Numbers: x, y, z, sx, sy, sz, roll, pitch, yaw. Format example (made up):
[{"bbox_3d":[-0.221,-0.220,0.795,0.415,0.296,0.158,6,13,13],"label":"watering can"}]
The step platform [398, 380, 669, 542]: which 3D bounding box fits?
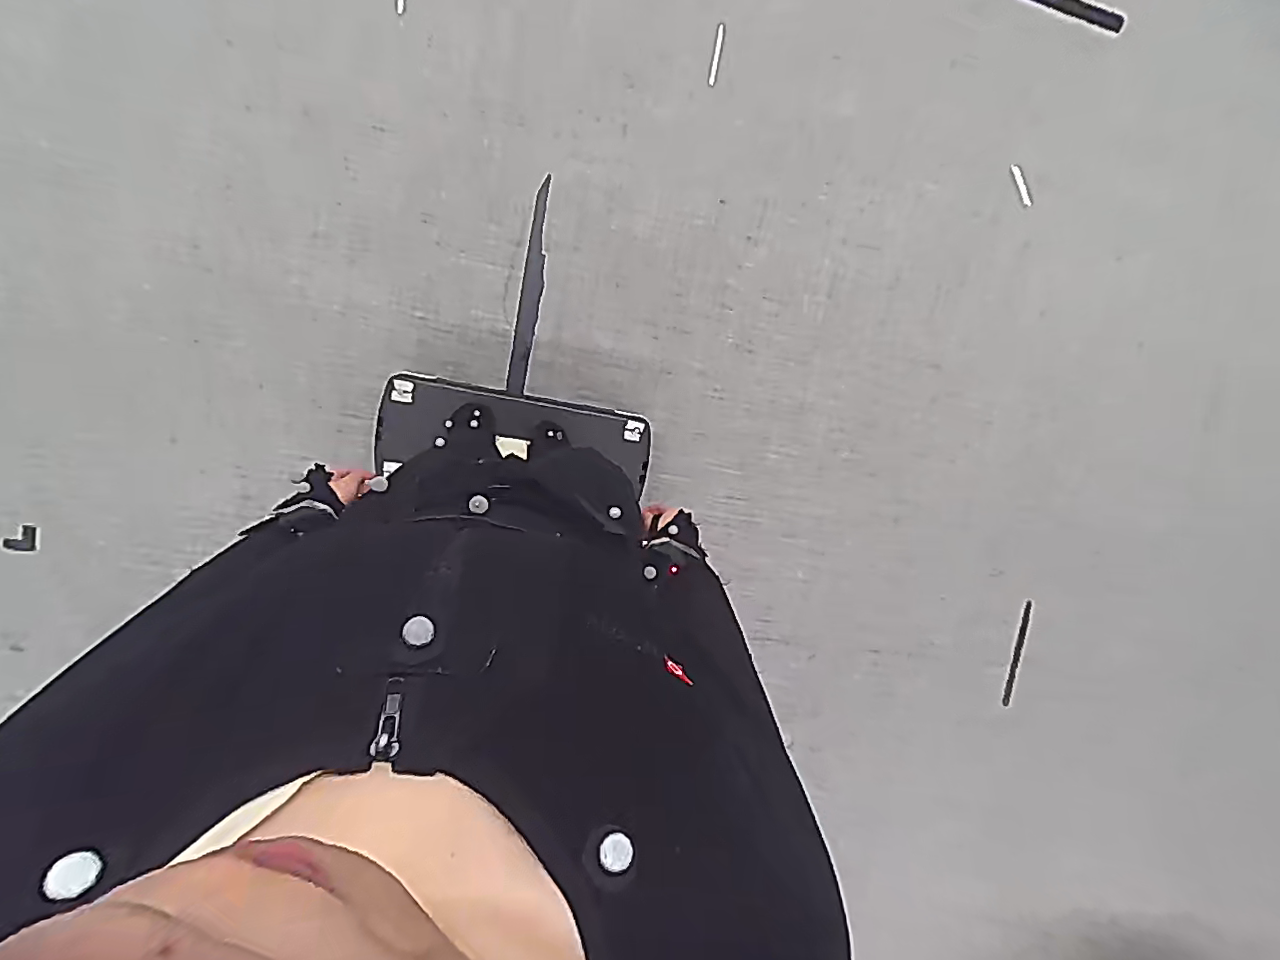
[{"bbox_3d":[-0.268,-0.046,1.436,0.684,0.204,0.286,14,94,-11],"label":"step platform"}]
